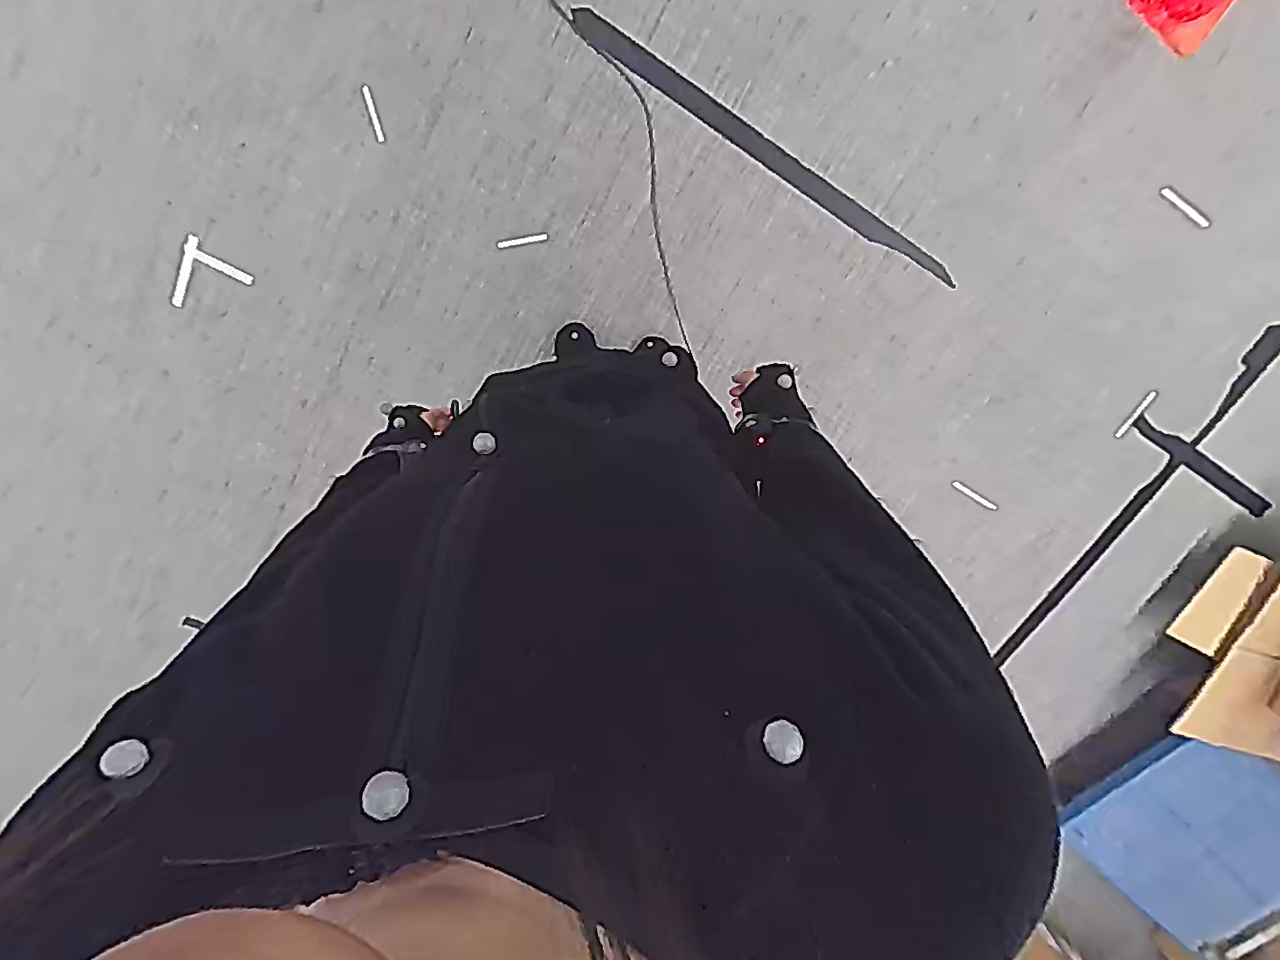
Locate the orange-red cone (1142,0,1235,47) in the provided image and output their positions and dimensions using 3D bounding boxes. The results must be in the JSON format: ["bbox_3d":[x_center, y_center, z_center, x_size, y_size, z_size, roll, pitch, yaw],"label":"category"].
[{"bbox_3d":[1.155,-0.985,0.949,0.199,0.360,0.198,32,105,-12],"label":"orange-red cone"}]
